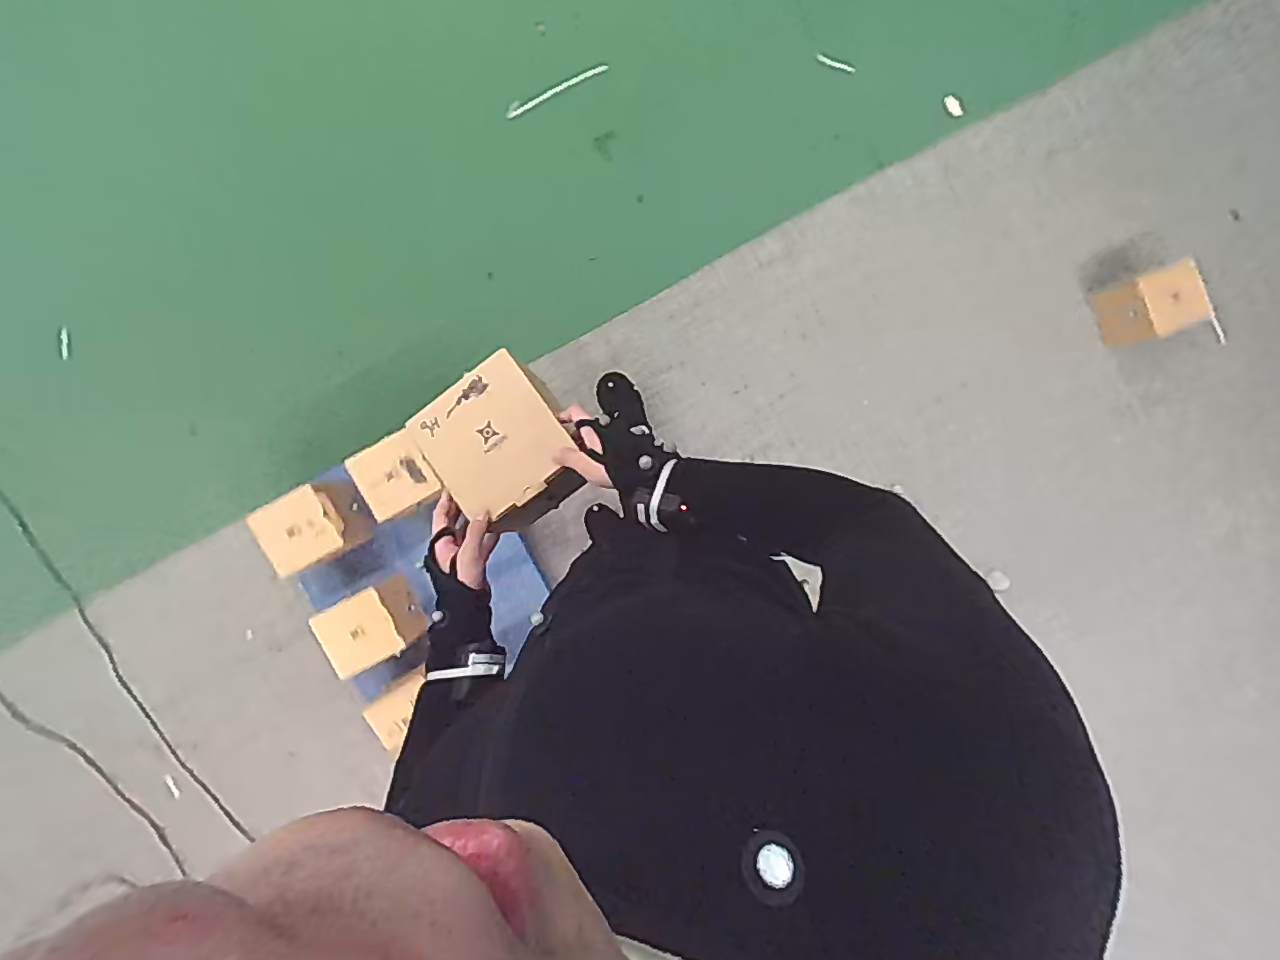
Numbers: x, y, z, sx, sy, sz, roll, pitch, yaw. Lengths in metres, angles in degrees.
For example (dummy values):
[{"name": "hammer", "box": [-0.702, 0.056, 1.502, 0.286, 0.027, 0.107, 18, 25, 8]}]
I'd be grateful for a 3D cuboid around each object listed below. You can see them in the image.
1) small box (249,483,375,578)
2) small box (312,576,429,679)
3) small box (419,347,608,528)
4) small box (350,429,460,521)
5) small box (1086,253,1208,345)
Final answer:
[{"name": "small box", "box": [-0.805, 0.119, 1.346, 0.179, 0.176, 0.168, -29, 94, 0]}, {"name": "small box", "box": [-0.669, 0.363, 1.363, 0.179, 0.176, 0.168, -28, 93, -1]}, {"name": "small box", "box": [-0.162, -0.051, 0.757, 0.168, 0.176, 0.179, -35, 84, 2]}, {"name": "small box", "box": [-0.577, -0.016, 1.363, 0.179, 0.176, 0.168, -29, 92, 1]}, {"name": "small box", "box": [1.446, -0.513, 1.555, 0.168, 0.176, 0.179, -23, 93, 1]}]
